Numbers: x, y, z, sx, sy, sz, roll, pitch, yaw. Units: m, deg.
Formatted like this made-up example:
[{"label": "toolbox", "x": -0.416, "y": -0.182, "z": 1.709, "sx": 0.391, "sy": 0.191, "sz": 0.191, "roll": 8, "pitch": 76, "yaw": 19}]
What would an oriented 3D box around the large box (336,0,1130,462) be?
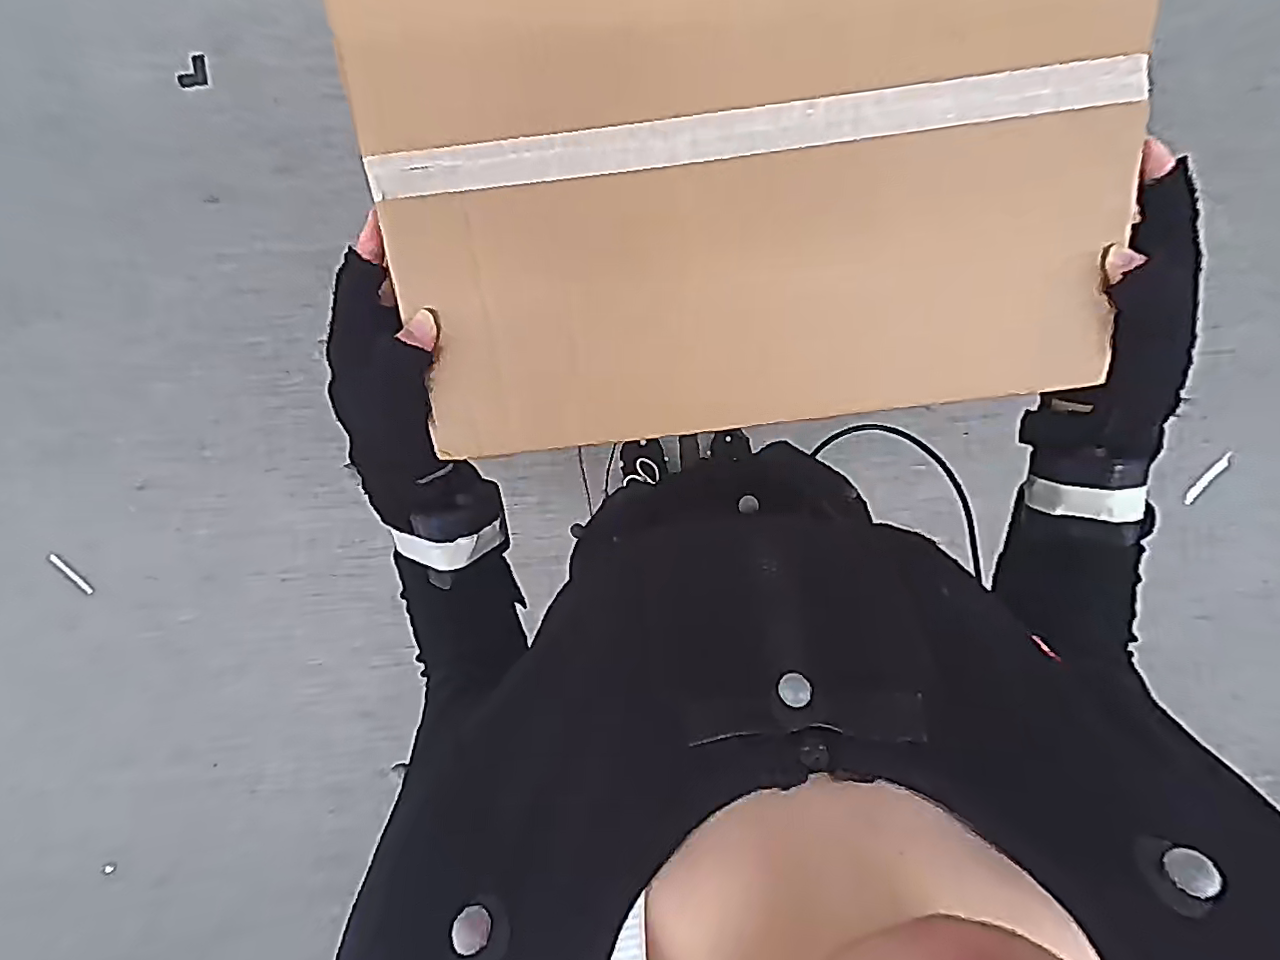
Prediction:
[{"label": "large box", "x": 0.054, "y": -0.227, "z": 0.434, "sx": 0.408, "sy": 0.320, "sz": 0.320, "roll": -7, "pitch": 107, "yaw": 1}]
